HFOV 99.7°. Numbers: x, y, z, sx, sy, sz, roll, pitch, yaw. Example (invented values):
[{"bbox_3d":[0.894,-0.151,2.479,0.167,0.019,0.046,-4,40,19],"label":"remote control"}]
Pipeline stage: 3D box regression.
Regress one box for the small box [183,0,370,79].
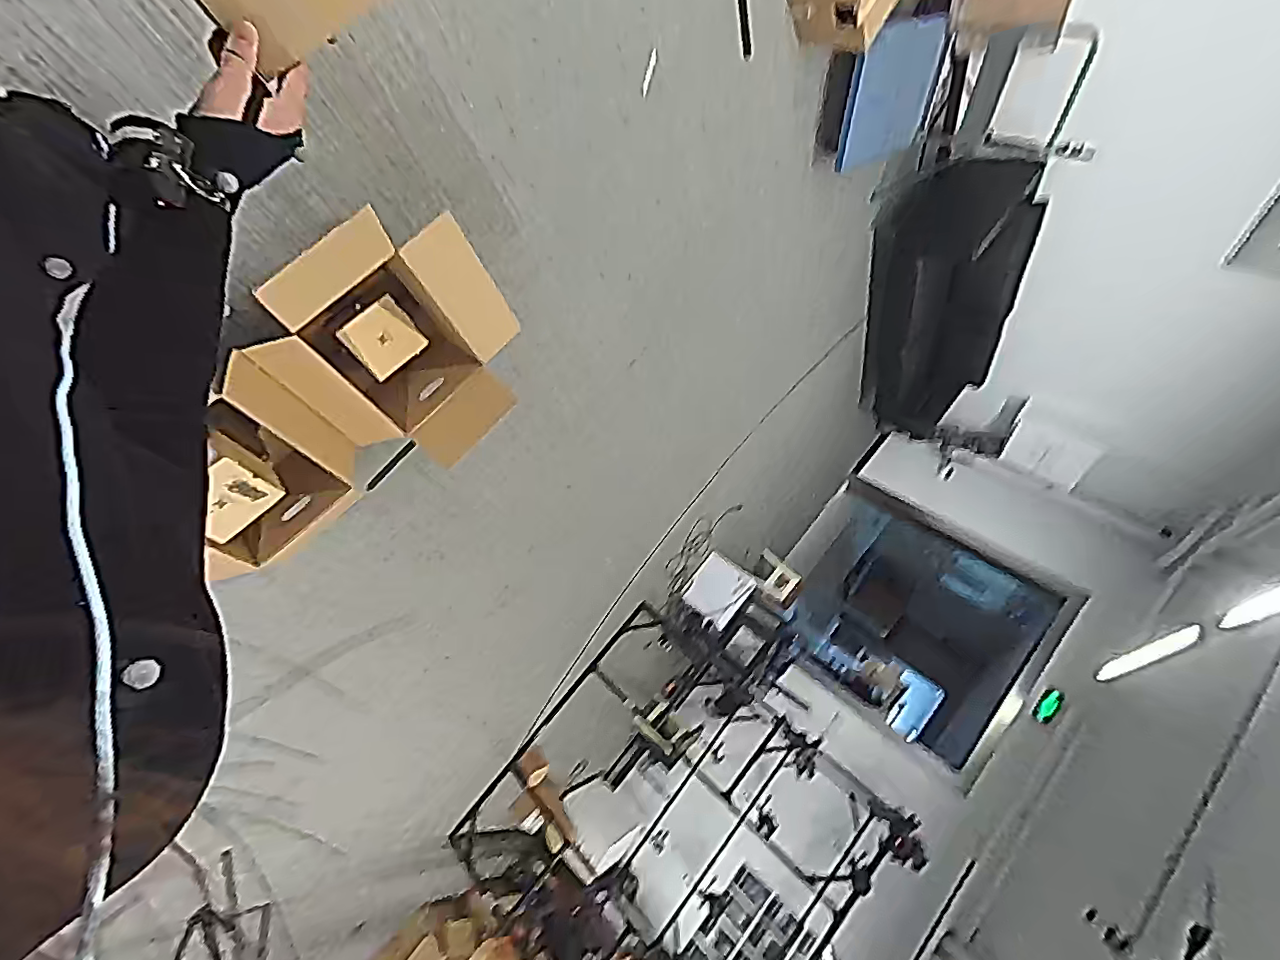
[{"bbox_3d":[-0.345,-0.492,0.455,0.179,0.176,0.168,-42,151,-4],"label":"small box"}]
